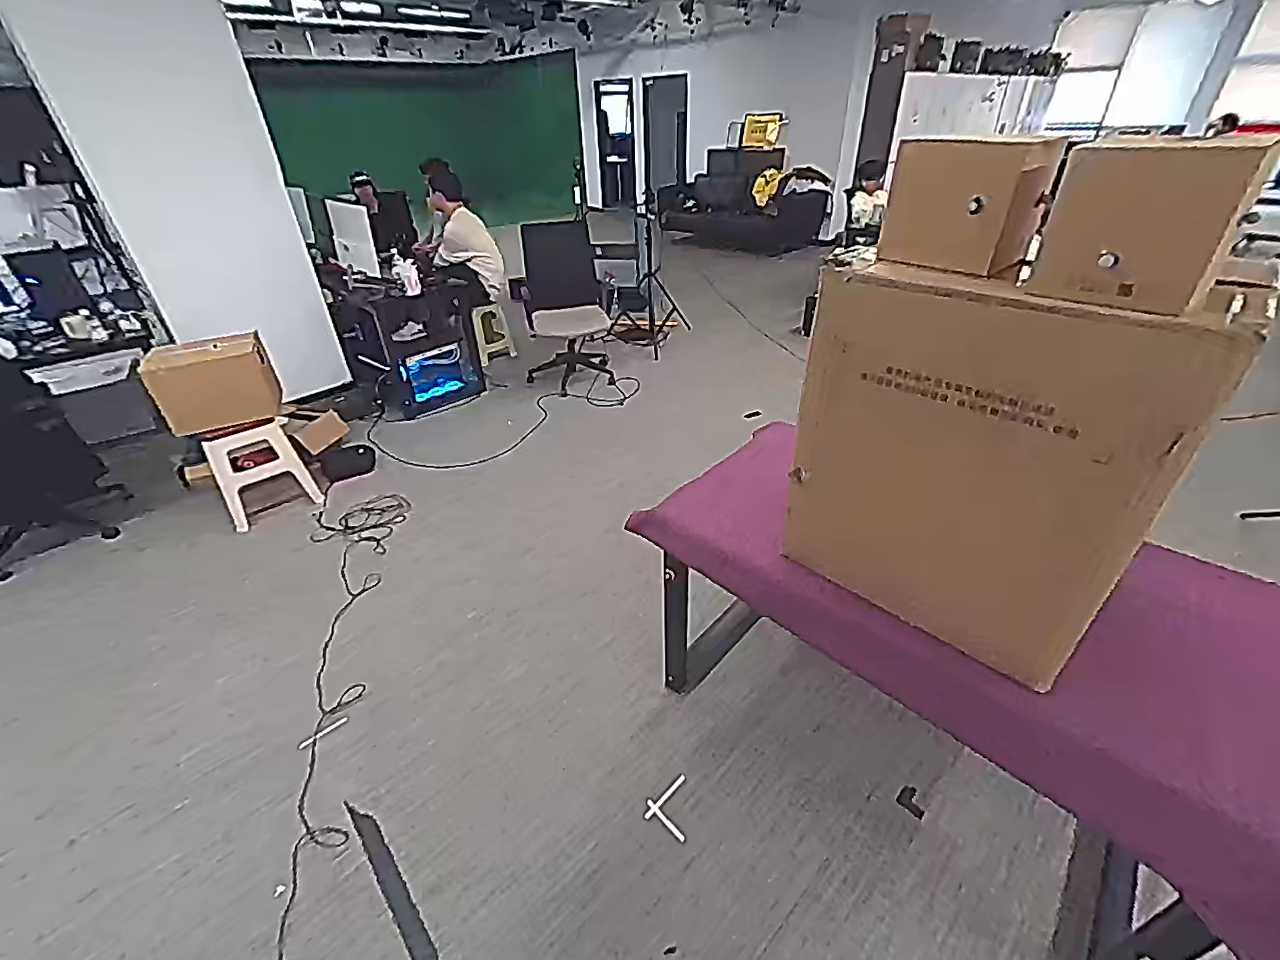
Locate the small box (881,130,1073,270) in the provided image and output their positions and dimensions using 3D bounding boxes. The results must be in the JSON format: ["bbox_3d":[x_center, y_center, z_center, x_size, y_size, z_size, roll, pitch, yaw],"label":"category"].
[{"bbox_3d":[0.500,-0.426,0.821,0.168,0.176,0.179,-28,42,-34],"label":"small box"}]

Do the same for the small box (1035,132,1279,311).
[{"bbox_3d":[0.621,-0.319,0.656,0.179,0.176,0.168,-28,40,-32],"label":"small box"}]
